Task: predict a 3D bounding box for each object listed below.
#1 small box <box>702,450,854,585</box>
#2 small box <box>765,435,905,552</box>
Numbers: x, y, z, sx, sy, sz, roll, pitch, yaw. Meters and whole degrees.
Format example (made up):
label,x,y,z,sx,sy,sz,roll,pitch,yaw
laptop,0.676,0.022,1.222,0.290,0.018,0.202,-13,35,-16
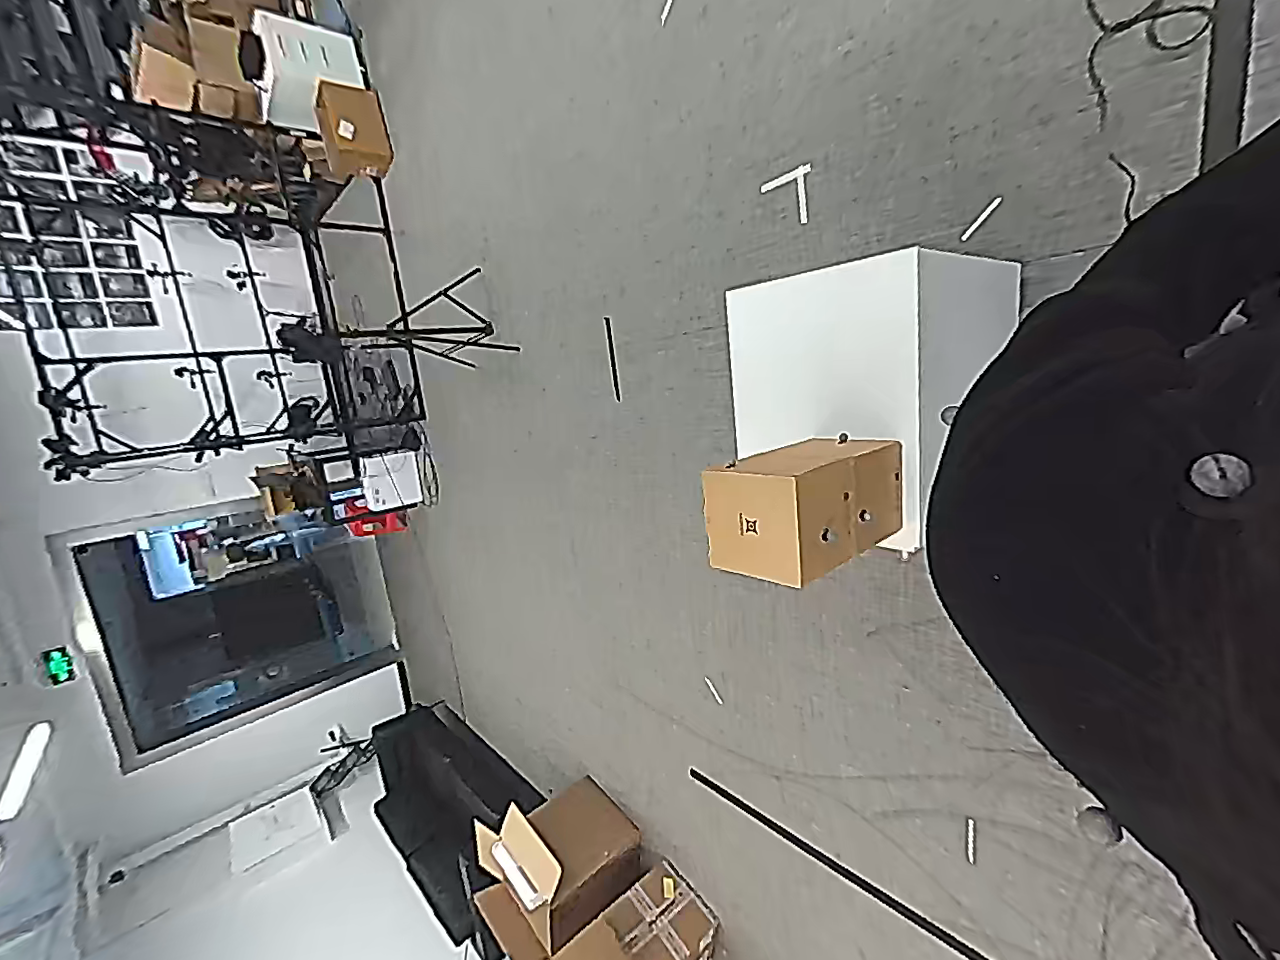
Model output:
label,x,y,z,sx,sy,sz,roll,pitch,yaw
small box,0.224,0.048,0.860,0.179,0.176,0.168,6,106,50
small box,0.346,0.014,0.964,0.179,0.176,0.168,8,108,50
